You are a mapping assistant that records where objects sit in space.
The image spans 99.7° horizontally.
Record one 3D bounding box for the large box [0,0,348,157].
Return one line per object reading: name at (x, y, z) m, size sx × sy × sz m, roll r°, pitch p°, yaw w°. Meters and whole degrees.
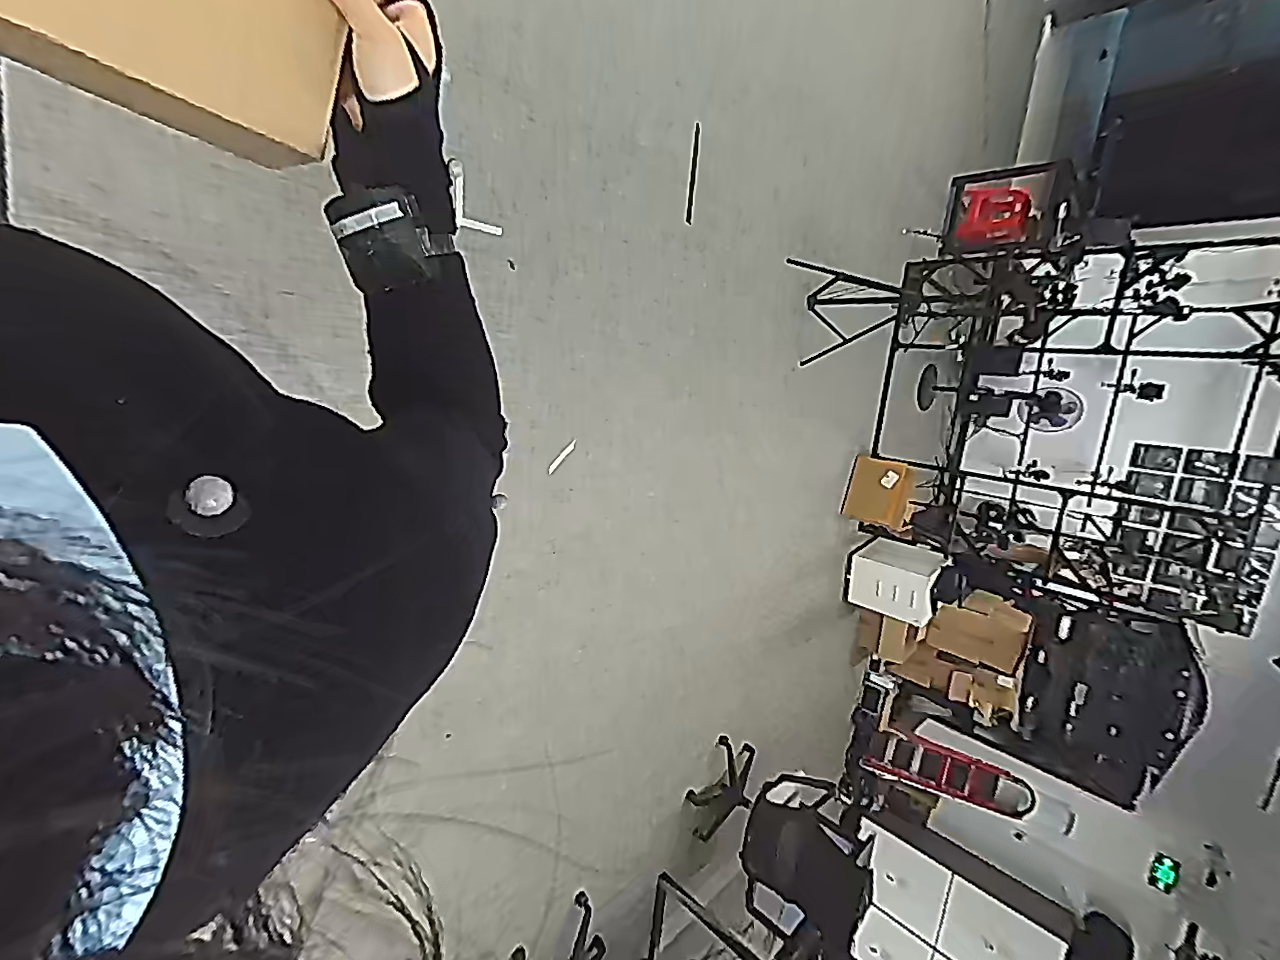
large box at (-0.402, -0.443, 0.315) m, size 0.408 × 0.320 × 0.320 m, roll 9°, pitch 106°, yaw -41°
